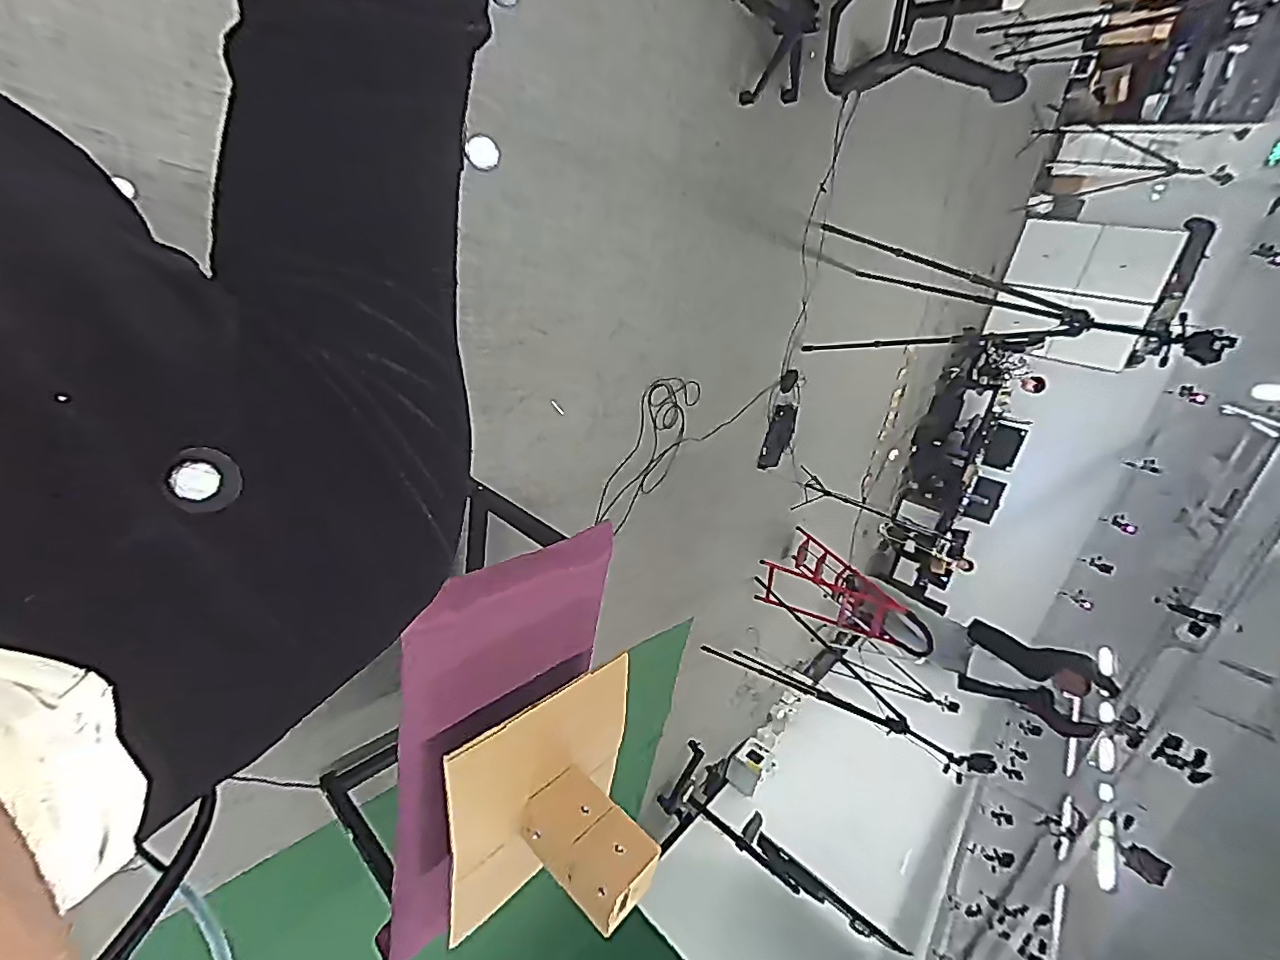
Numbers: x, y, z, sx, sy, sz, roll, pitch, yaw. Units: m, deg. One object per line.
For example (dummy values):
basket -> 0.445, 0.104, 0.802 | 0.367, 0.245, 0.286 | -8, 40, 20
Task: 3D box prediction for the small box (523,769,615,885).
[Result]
small box -> -0.199, 0.952, 1.504 | 0.179, 0.176, 0.168 | -15, 124, -48
